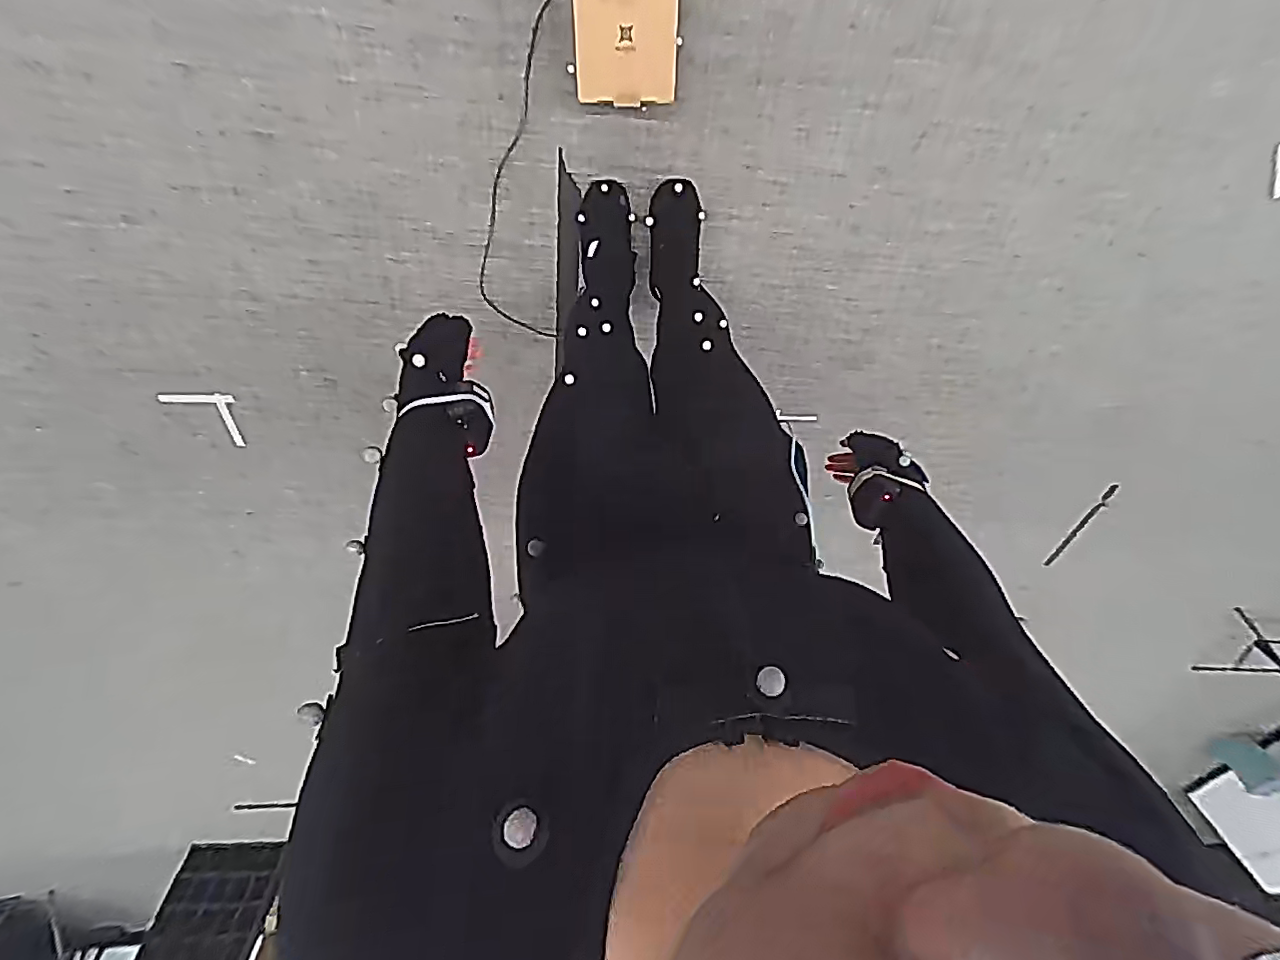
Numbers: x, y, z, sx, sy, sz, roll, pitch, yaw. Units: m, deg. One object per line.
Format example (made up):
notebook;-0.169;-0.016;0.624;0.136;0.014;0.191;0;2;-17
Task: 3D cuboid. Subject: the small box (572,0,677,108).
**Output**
small box;-0.031;-0.753;0.927;0.168;0.176;0.179;-3;128;-5
